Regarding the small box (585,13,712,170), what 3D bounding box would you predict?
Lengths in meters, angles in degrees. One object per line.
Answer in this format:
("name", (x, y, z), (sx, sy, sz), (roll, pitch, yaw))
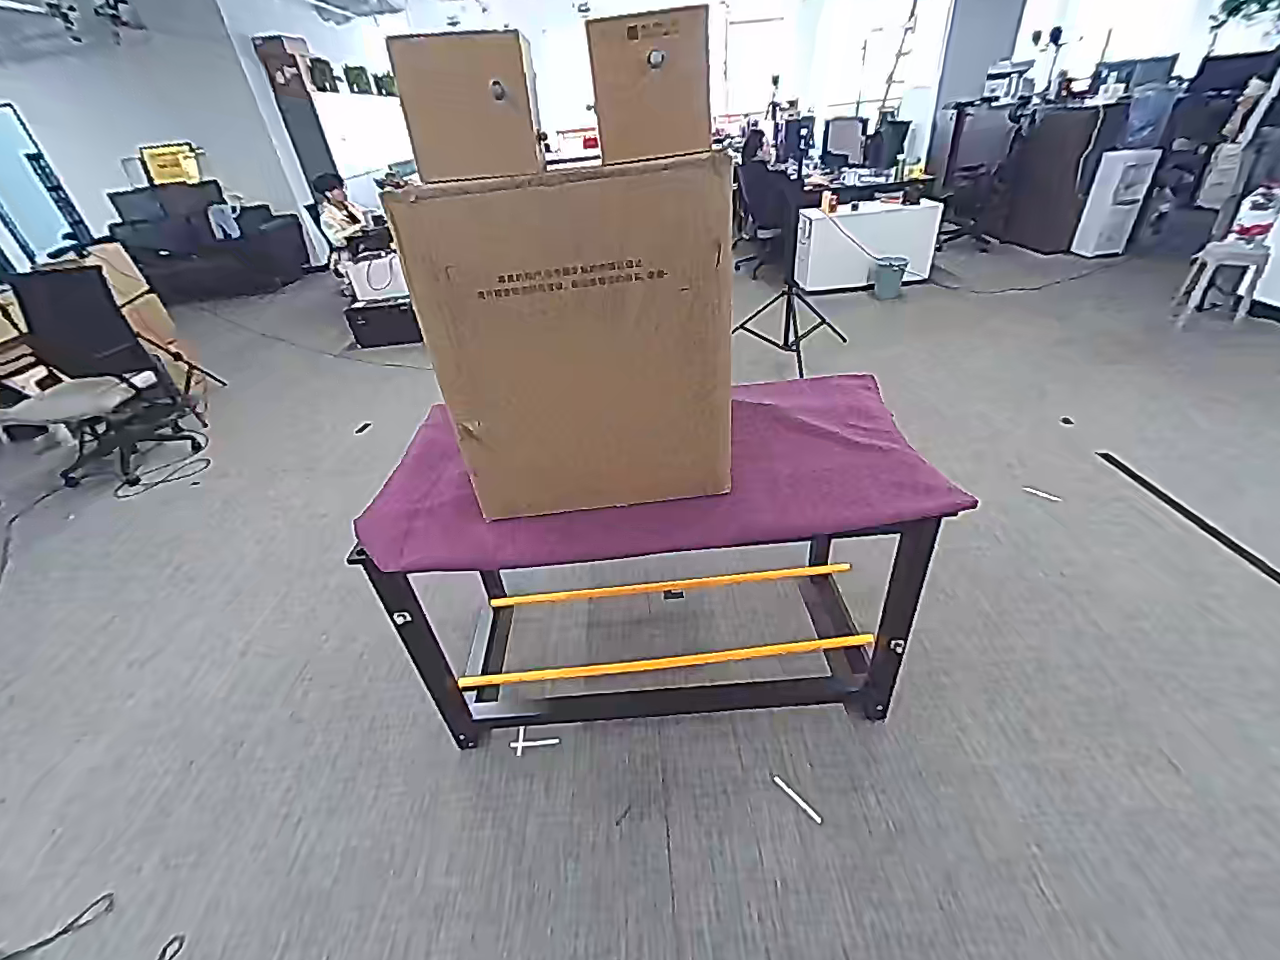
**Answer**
("small box", (0.012, -0.581, 0.817), (0.168, 0.176, 0.179), (-8, 34, -1))
